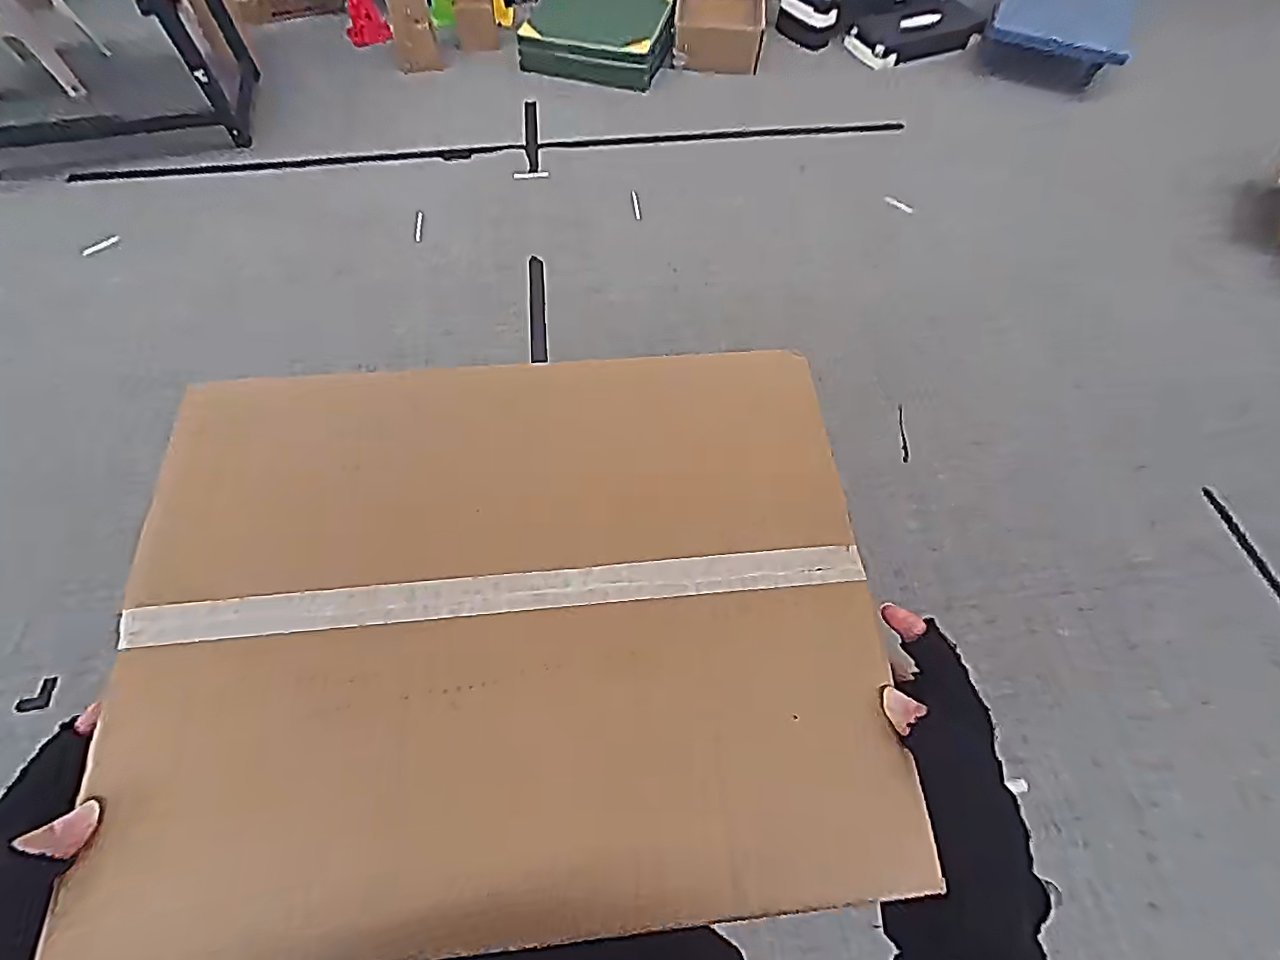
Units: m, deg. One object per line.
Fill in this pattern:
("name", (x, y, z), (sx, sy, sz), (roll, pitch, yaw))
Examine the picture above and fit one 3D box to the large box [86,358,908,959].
("large box", (-0.080, 0.127, 0.456), (0.408, 0.320, 0.320), (-4, 67, -4))
